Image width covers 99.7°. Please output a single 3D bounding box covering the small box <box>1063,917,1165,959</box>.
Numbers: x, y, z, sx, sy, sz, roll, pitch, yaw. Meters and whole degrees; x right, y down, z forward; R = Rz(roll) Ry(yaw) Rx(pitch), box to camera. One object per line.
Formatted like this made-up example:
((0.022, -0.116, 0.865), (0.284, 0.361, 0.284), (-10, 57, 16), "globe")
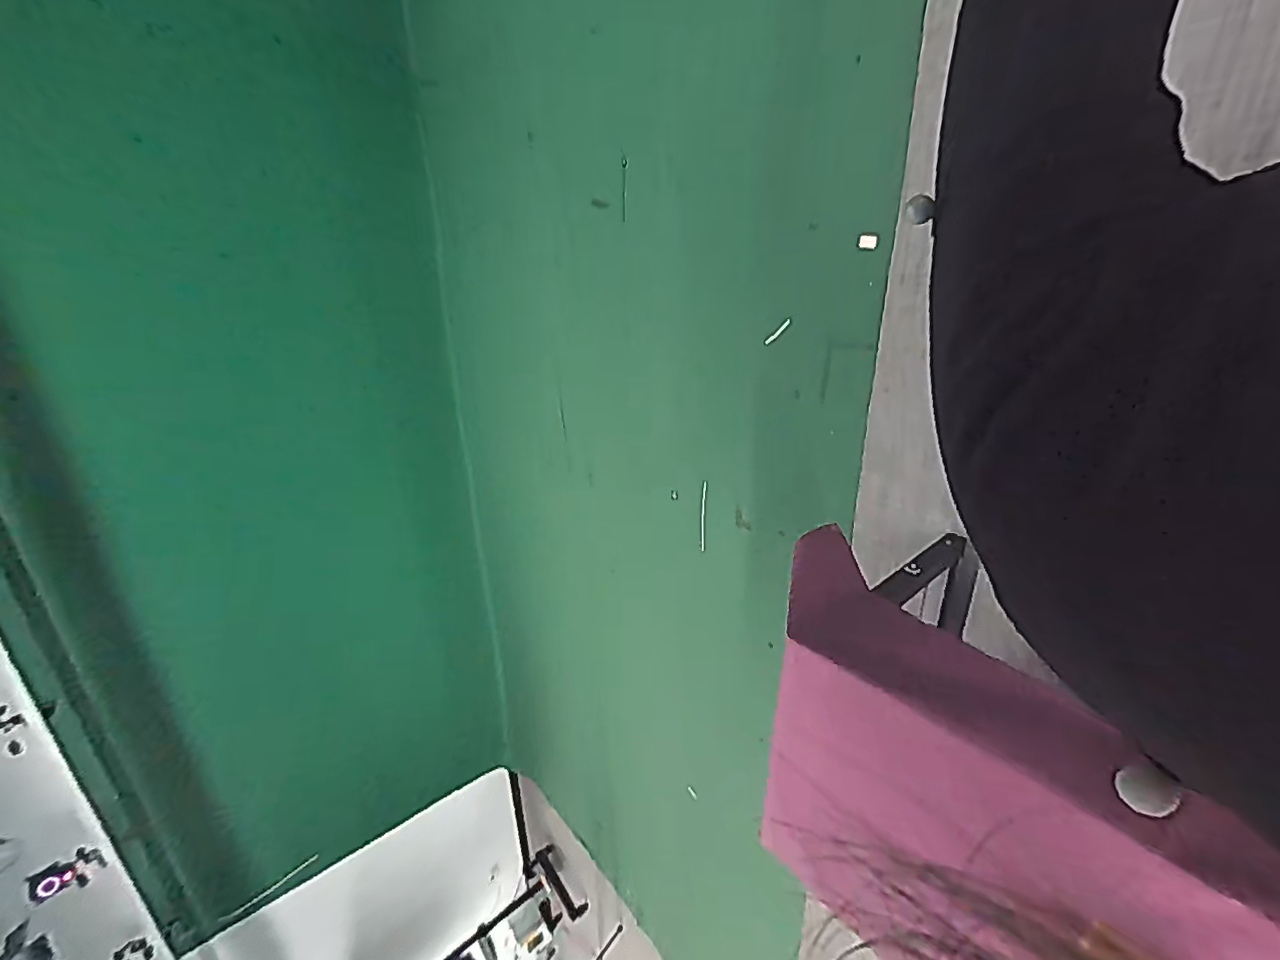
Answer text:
((0.612, 0.713, 0.670), (0.168, 0.176, 0.179), (28, 124, 43), "small box")
